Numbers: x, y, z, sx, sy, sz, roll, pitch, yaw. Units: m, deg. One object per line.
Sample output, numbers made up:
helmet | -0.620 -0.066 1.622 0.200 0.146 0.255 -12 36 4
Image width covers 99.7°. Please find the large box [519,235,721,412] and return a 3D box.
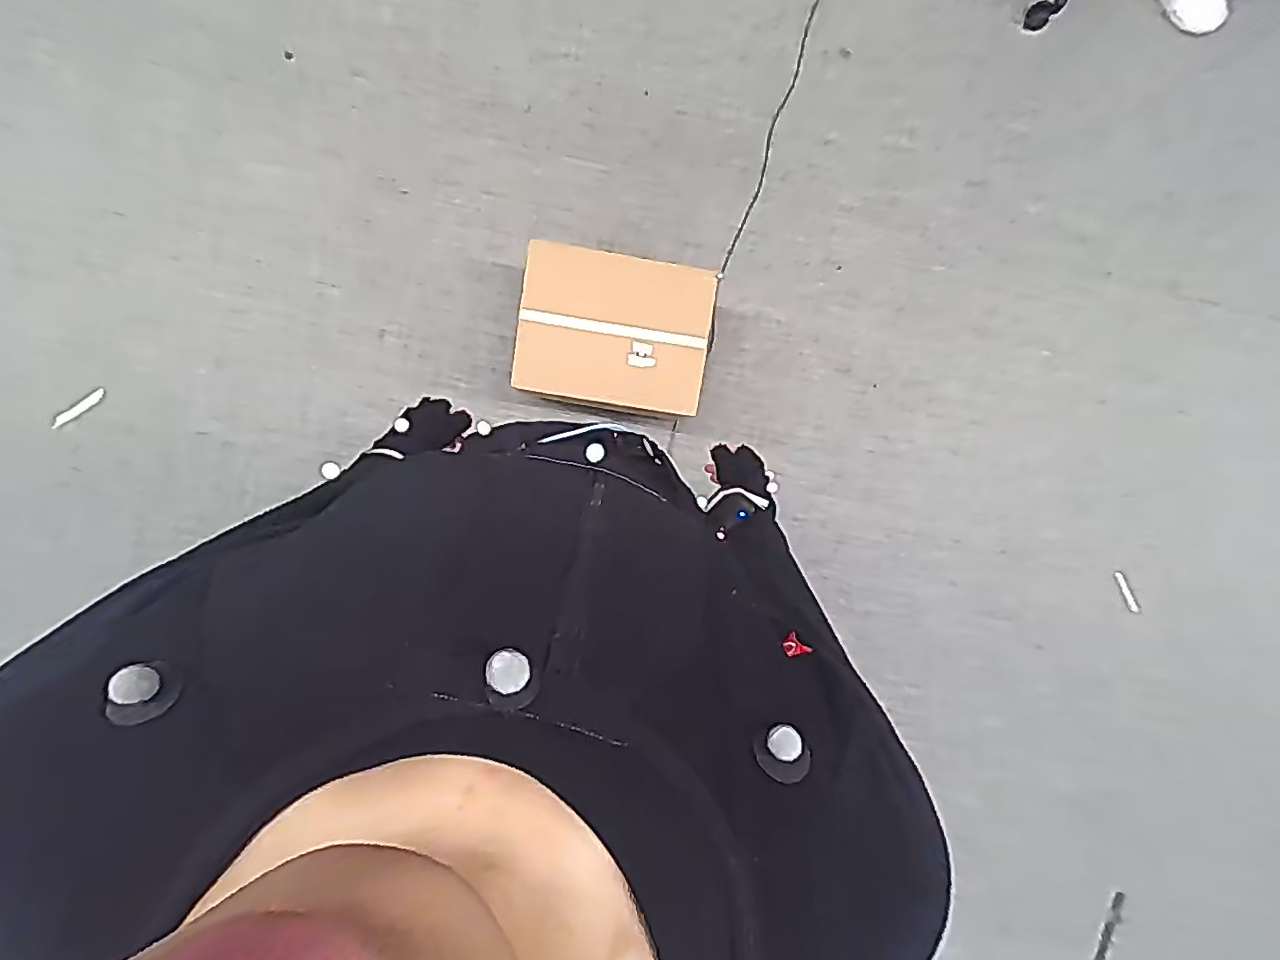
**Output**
large box | -0.054 -0.349 1.304 0.408 0.320 0.320 9 96 -5
